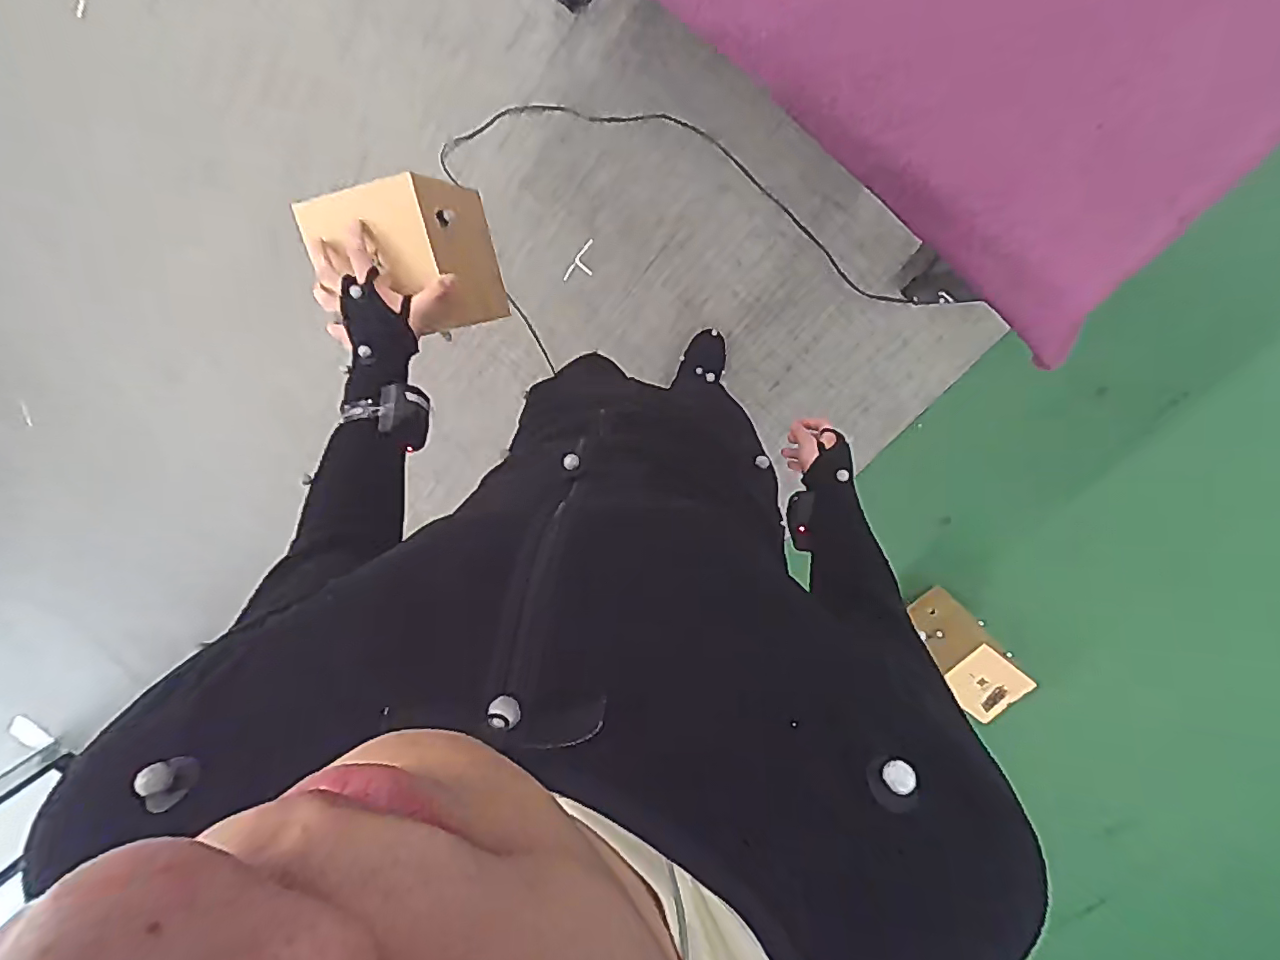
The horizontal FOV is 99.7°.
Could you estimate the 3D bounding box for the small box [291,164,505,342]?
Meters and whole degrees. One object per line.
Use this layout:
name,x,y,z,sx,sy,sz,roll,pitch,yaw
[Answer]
small box,-0.301,-0.291,0.713,0.168,0.176,0.179,-5,111,14

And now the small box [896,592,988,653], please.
small box,0.881,0.450,1.567,0.179,0.176,0.168,40,108,-5

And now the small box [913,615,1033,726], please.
small box,0.856,0.488,1.408,0.179,0.176,0.168,38,108,-2
